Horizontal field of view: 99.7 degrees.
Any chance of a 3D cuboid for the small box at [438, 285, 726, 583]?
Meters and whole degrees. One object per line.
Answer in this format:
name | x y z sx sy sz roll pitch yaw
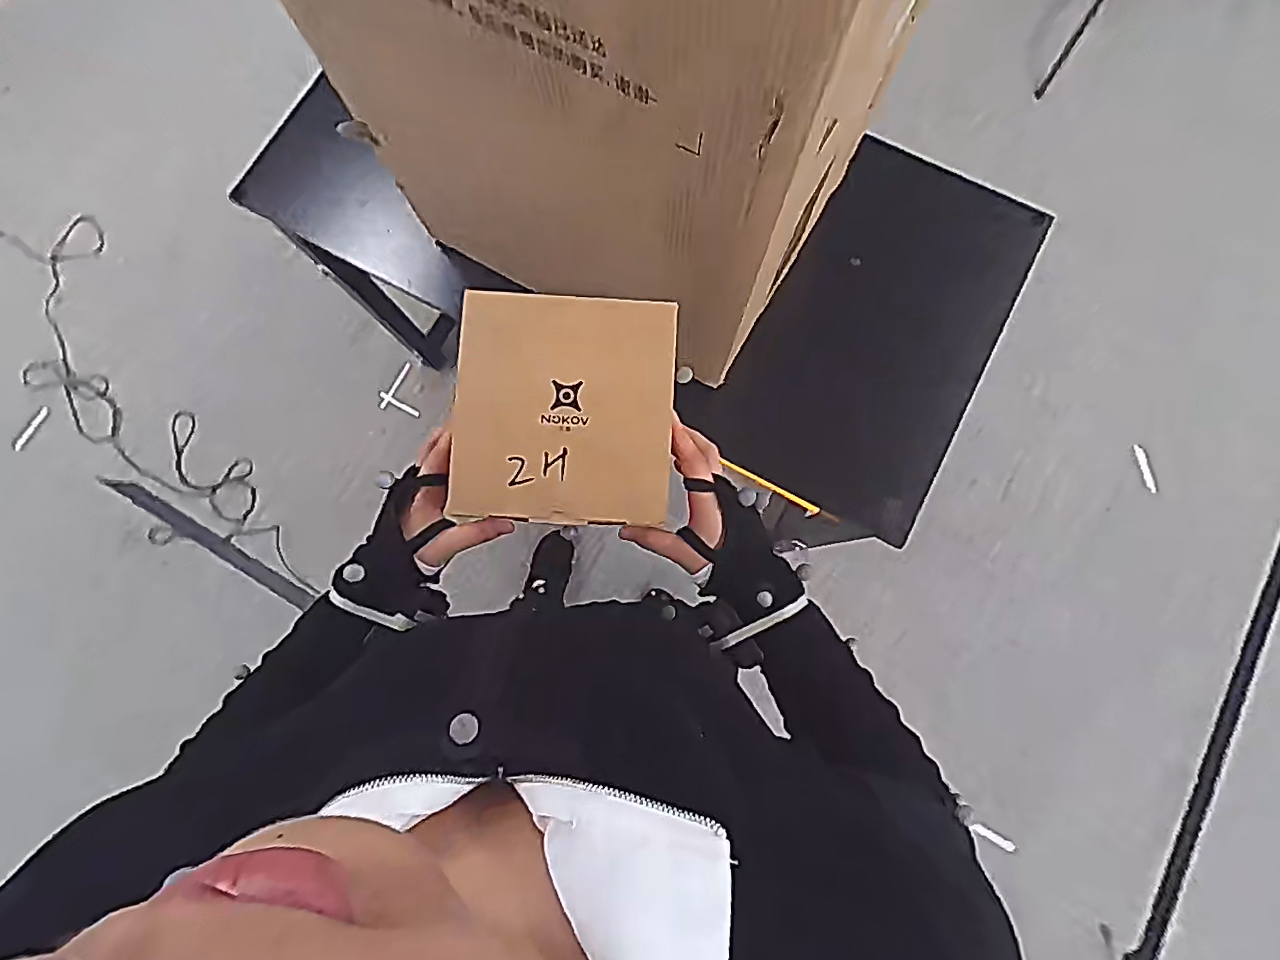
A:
small box | -0.035 -0.022 0.407 0.168 0.176 0.179 3 85 -1
